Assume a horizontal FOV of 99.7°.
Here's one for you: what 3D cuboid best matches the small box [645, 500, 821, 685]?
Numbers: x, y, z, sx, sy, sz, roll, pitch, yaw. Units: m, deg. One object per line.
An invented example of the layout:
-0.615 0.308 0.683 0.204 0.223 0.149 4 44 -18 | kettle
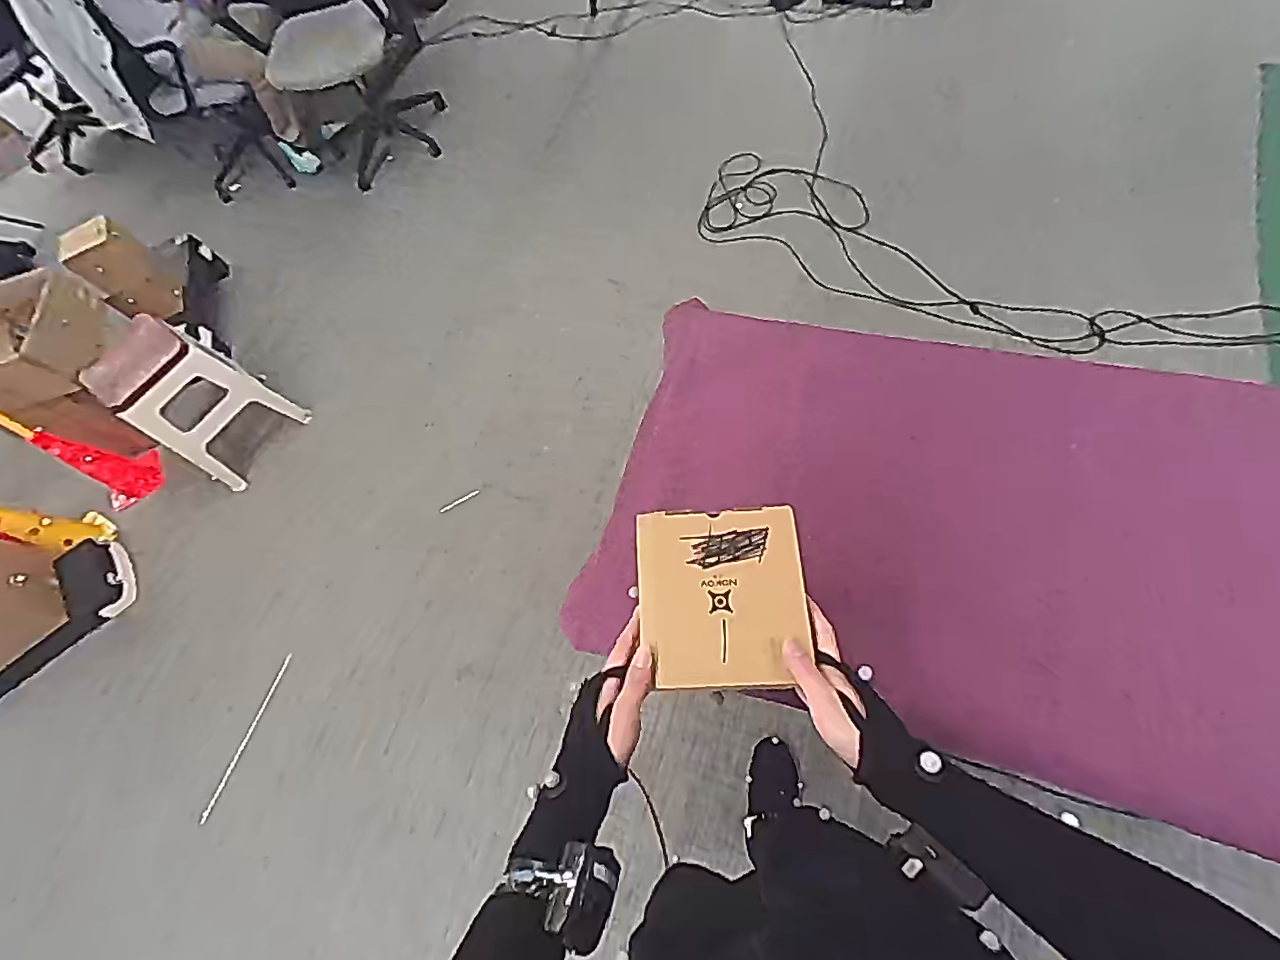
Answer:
0.091 0.134 0.609 0.168 0.176 0.179 -3 68 3 | small box
